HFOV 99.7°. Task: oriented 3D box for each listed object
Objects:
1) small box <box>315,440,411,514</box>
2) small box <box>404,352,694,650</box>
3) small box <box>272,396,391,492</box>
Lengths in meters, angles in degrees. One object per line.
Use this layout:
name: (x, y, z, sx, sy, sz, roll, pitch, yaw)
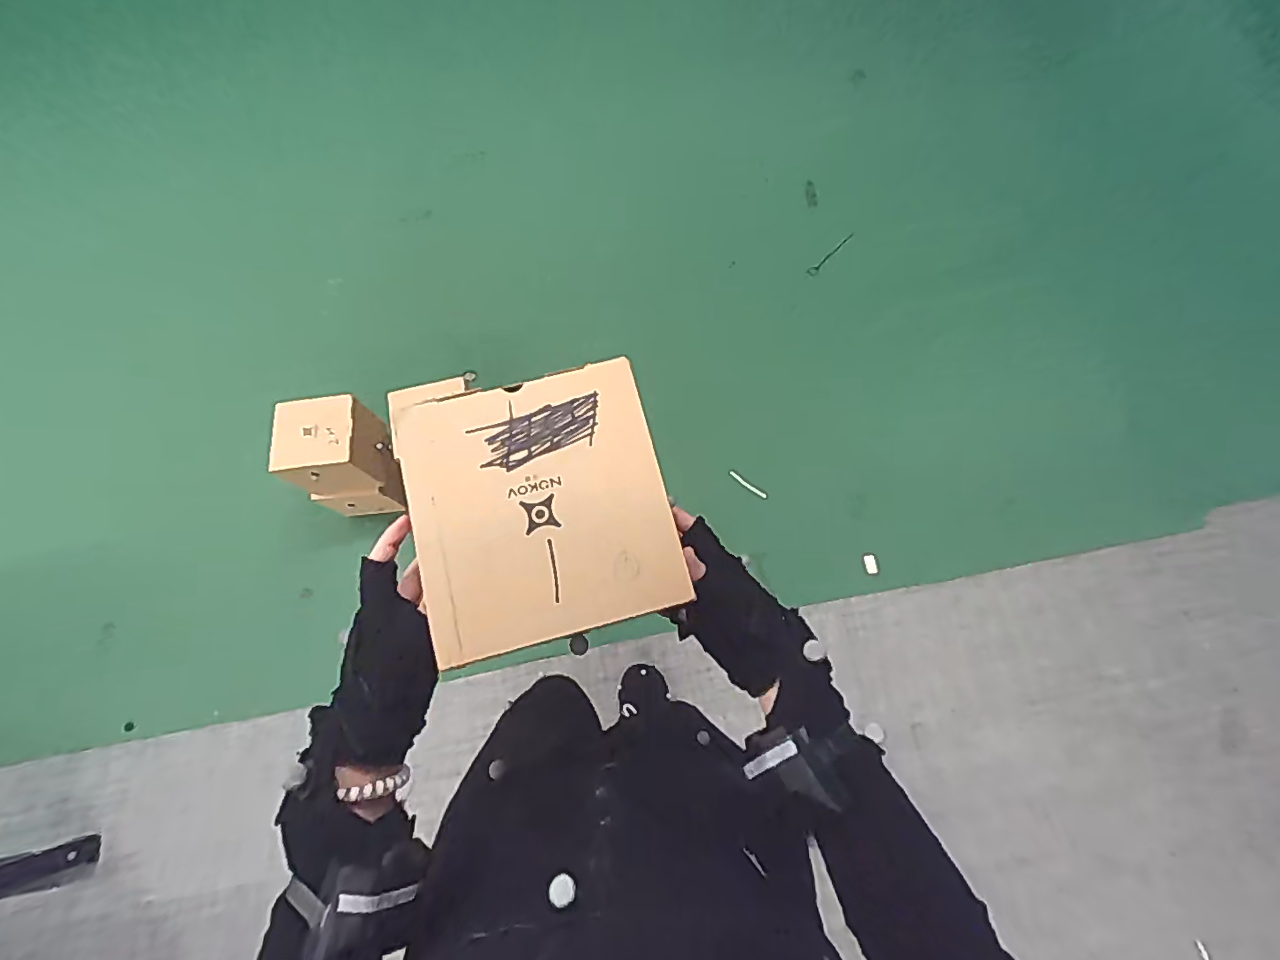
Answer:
small box: (-0.717, -0.014, 1.417, 0.168, 0.176, 0.179, -6, 70, -1)
small box: (-0.067, 0.027, 0.434, 0.168, 0.176, 0.179, -14, 77, -5)
small box: (-0.712, -0.078, 1.264, 0.179, 0.176, 0.168, -6, 71, -1)
